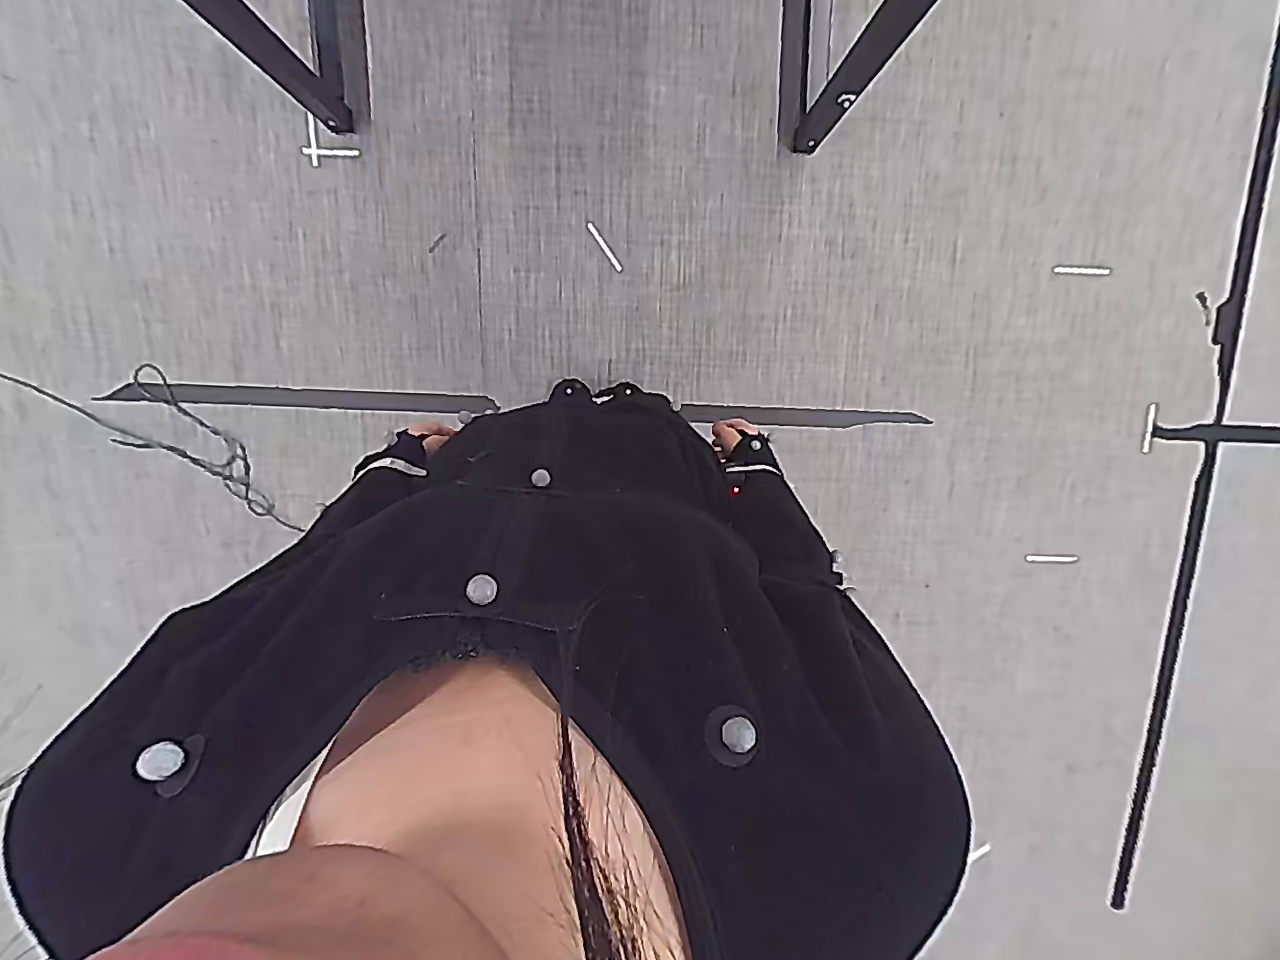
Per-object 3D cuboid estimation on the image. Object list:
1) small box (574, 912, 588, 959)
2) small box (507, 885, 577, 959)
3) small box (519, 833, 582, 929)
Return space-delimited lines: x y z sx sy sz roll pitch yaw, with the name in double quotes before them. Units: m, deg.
"small box" -0.249 1.456 1.647 0.168 0.176 0.179 -6 100 -1
"small box" -0.257 1.220 1.439 0.168 0.176 0.179 2 101 -3
"small box" -0.261 1.179 1.599 0.168 0.176 0.179 -1 101 -2
